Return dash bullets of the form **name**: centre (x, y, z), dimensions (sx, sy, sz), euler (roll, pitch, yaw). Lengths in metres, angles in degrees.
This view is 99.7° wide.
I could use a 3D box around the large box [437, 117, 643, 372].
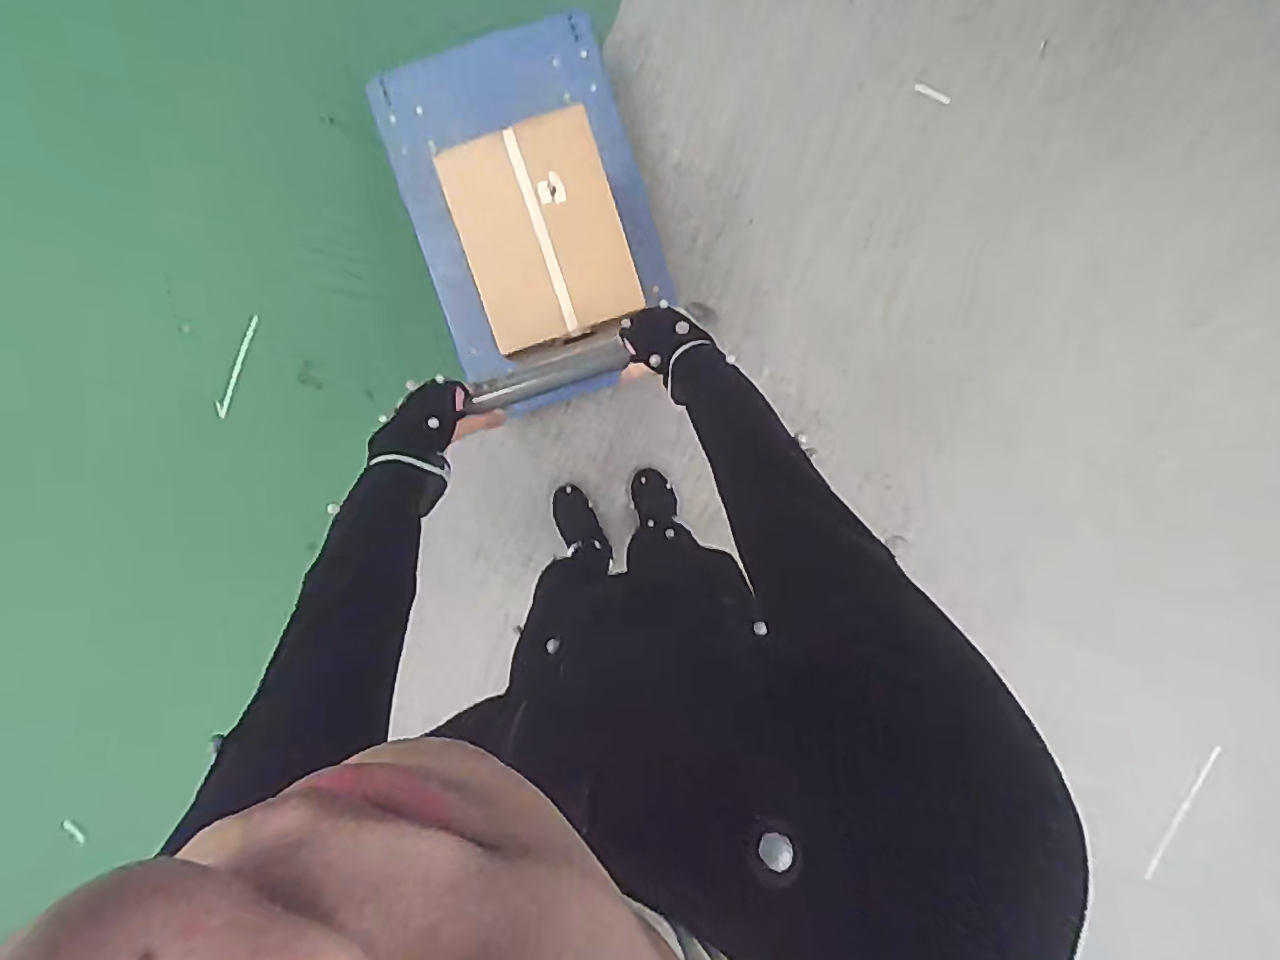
- **large box**: centre (-0.197, -0.499, 1.239), dimensions (0.320, 0.320, 0.408), euler (-18, 95, 1)
